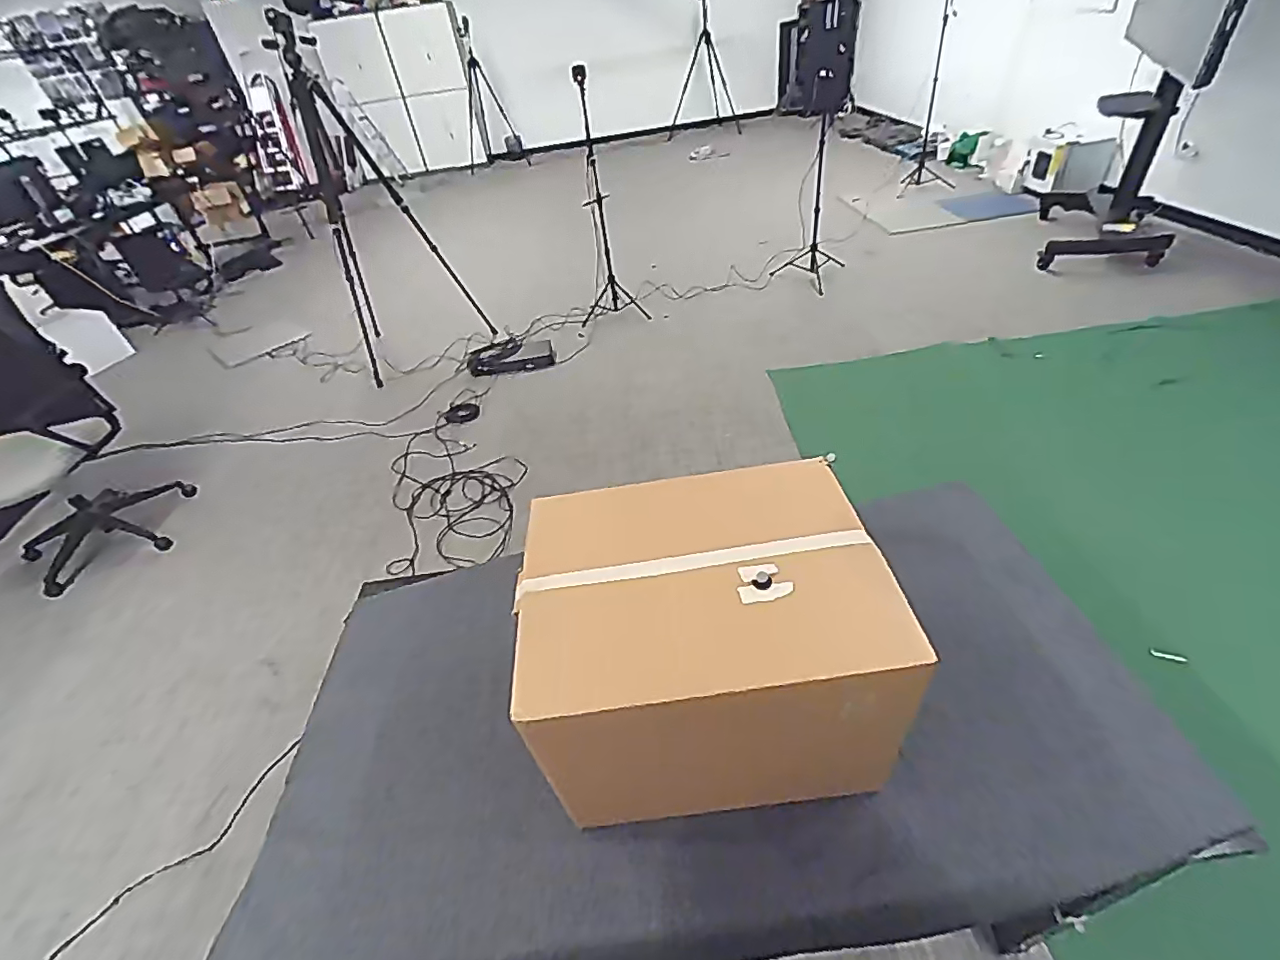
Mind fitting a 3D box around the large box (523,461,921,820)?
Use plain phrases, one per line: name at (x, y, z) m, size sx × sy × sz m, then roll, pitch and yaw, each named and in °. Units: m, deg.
large box at (0.081, 0.212, 0.731) m, size 0.408 × 0.320 × 0.320 m, roll -8°, pitch 41°, yaw 0°
